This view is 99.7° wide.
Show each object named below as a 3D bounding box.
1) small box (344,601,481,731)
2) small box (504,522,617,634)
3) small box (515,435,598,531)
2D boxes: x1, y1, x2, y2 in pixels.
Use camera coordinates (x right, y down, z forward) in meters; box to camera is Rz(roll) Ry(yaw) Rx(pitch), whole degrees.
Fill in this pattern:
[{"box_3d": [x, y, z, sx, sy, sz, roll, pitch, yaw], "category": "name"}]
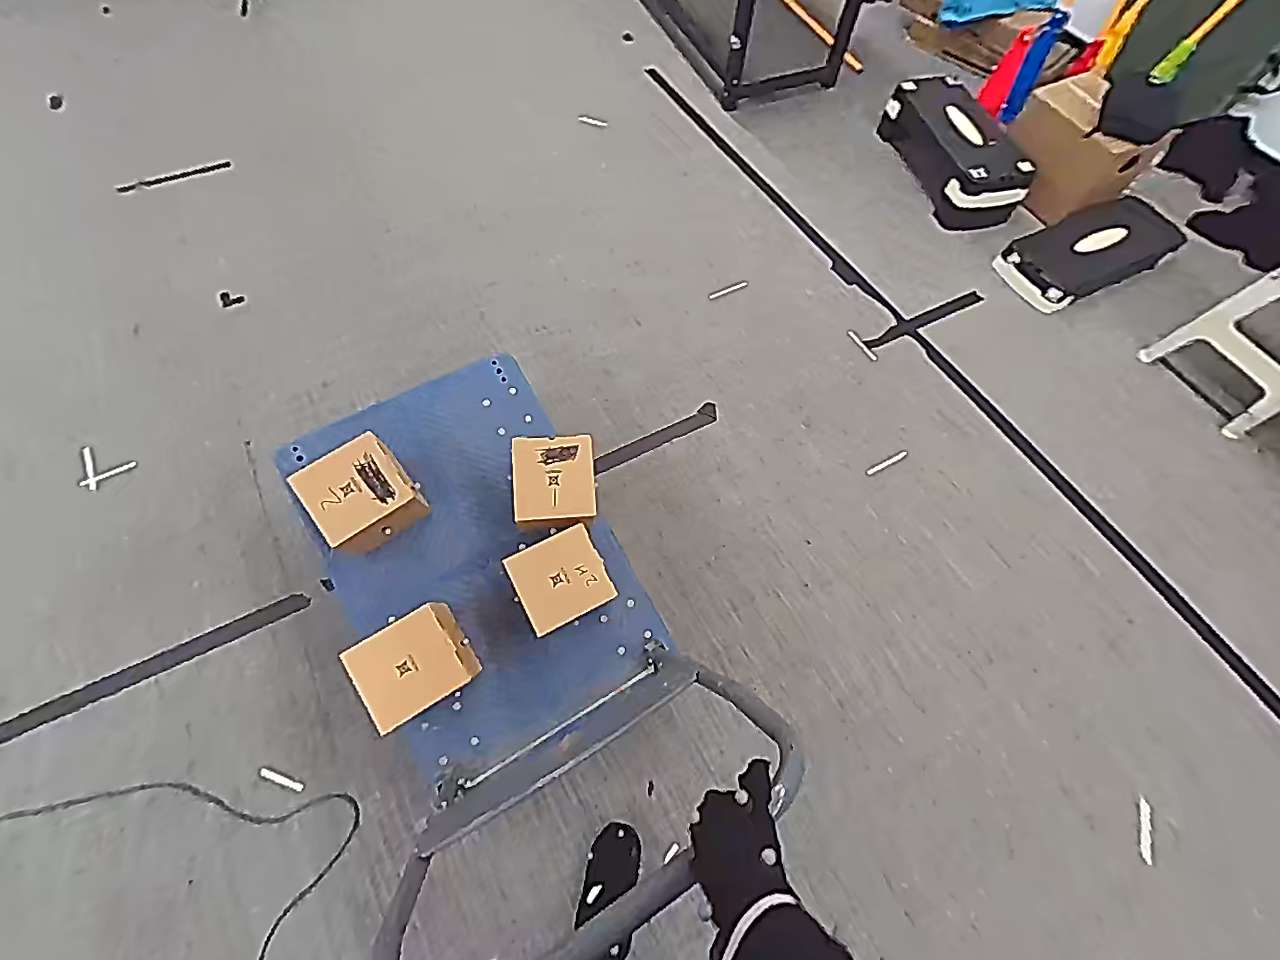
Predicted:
[{"box_3d": [-0.433, 0.357, 1.060, 0.179, 0.176, 0.168, -31, 82, -16], "category": "small box"}, {"box_3d": [-0.164, 0.209, 1.136, 0.179, 0.176, 0.168, -25, 82, -13], "category": "small box"}, {"box_3d": [-0.184, 0.010, 1.182, 0.168, 0.176, 0.179, -3, 78, -9], "category": "small box"}]
